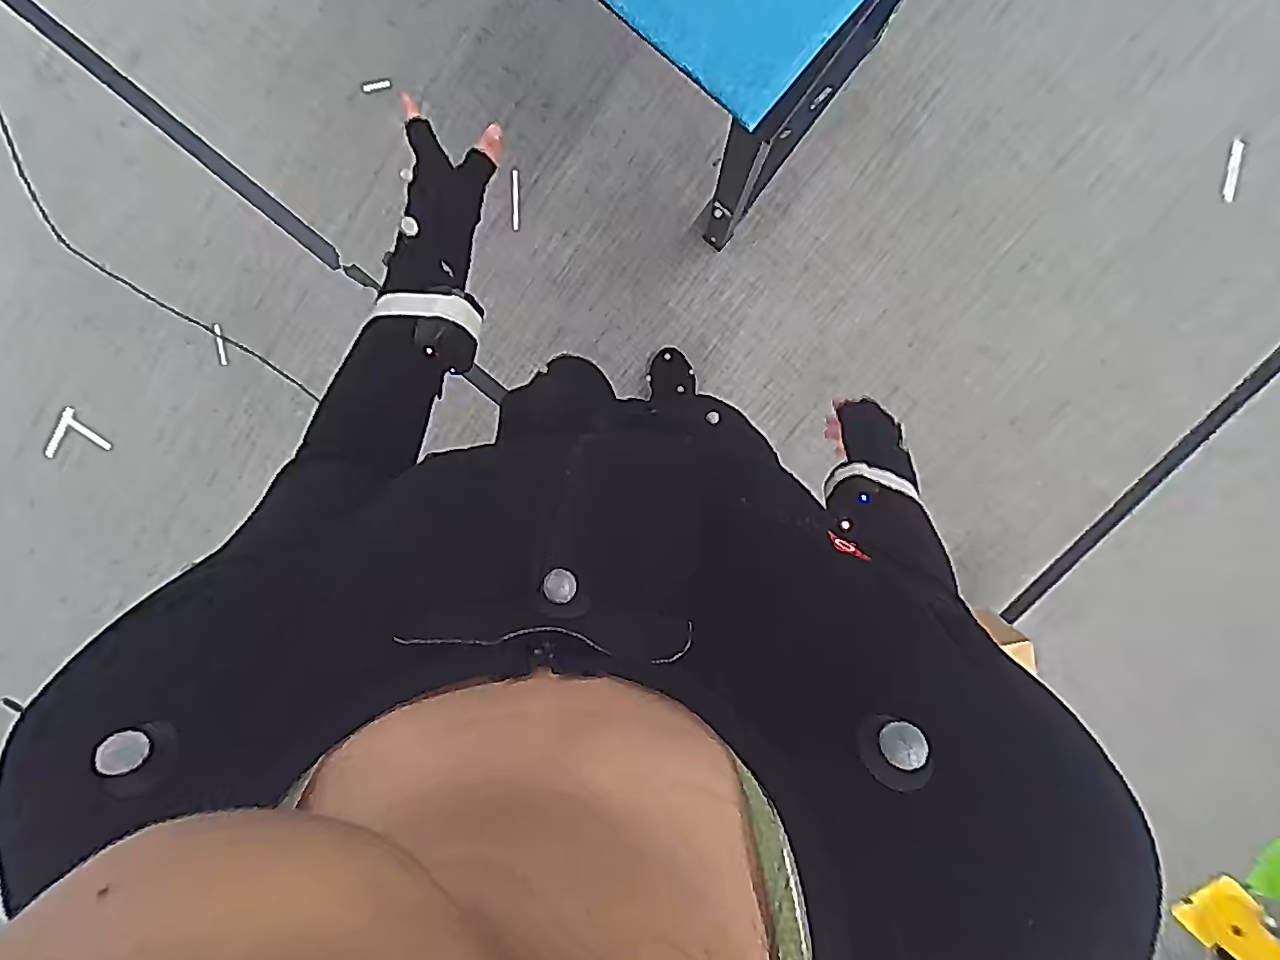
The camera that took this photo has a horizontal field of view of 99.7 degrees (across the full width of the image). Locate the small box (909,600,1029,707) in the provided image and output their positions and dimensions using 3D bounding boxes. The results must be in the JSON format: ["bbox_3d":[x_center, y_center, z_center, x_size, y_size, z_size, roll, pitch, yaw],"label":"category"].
[{"bbox_3d":[0.772,0.410,1.280,0.179,0.176,0.168,-13,102,5],"label":"small box"}]
